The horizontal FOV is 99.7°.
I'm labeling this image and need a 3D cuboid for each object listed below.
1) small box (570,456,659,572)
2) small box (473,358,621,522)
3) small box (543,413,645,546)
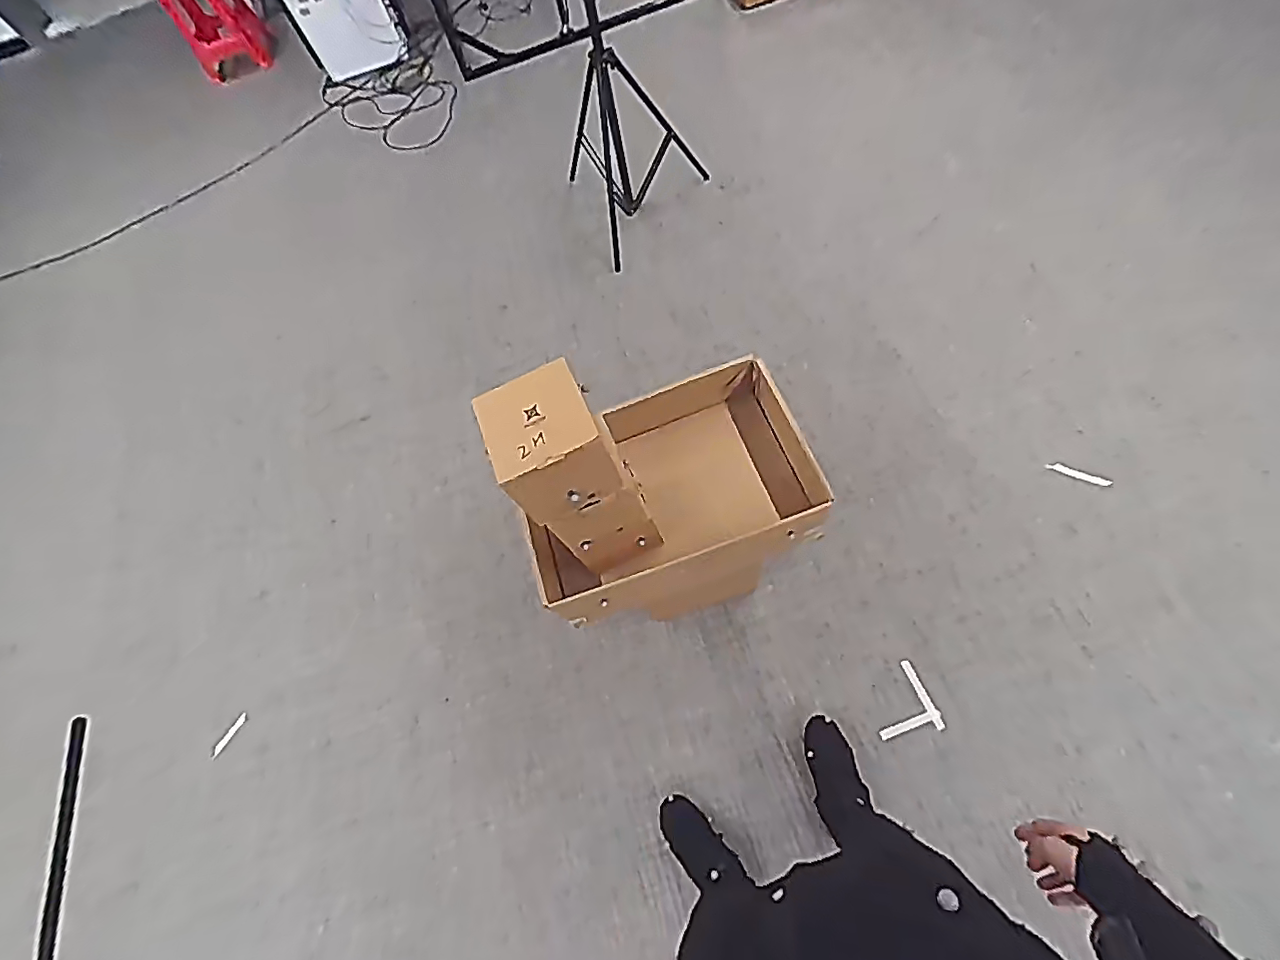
[{"bbox_3d":[-0.068,0.080,1.179,0.179,0.176,0.168,-25,63,0],"label":"small box"},{"bbox_3d":[-0.148,-0.060,0.891,0.168,0.176,0.179,-26,62,0],"label":"small box"},{"bbox_3d":[-0.103,0.010,1.035,0.168,0.176,0.179,-24,62,0],"label":"small box"}]
